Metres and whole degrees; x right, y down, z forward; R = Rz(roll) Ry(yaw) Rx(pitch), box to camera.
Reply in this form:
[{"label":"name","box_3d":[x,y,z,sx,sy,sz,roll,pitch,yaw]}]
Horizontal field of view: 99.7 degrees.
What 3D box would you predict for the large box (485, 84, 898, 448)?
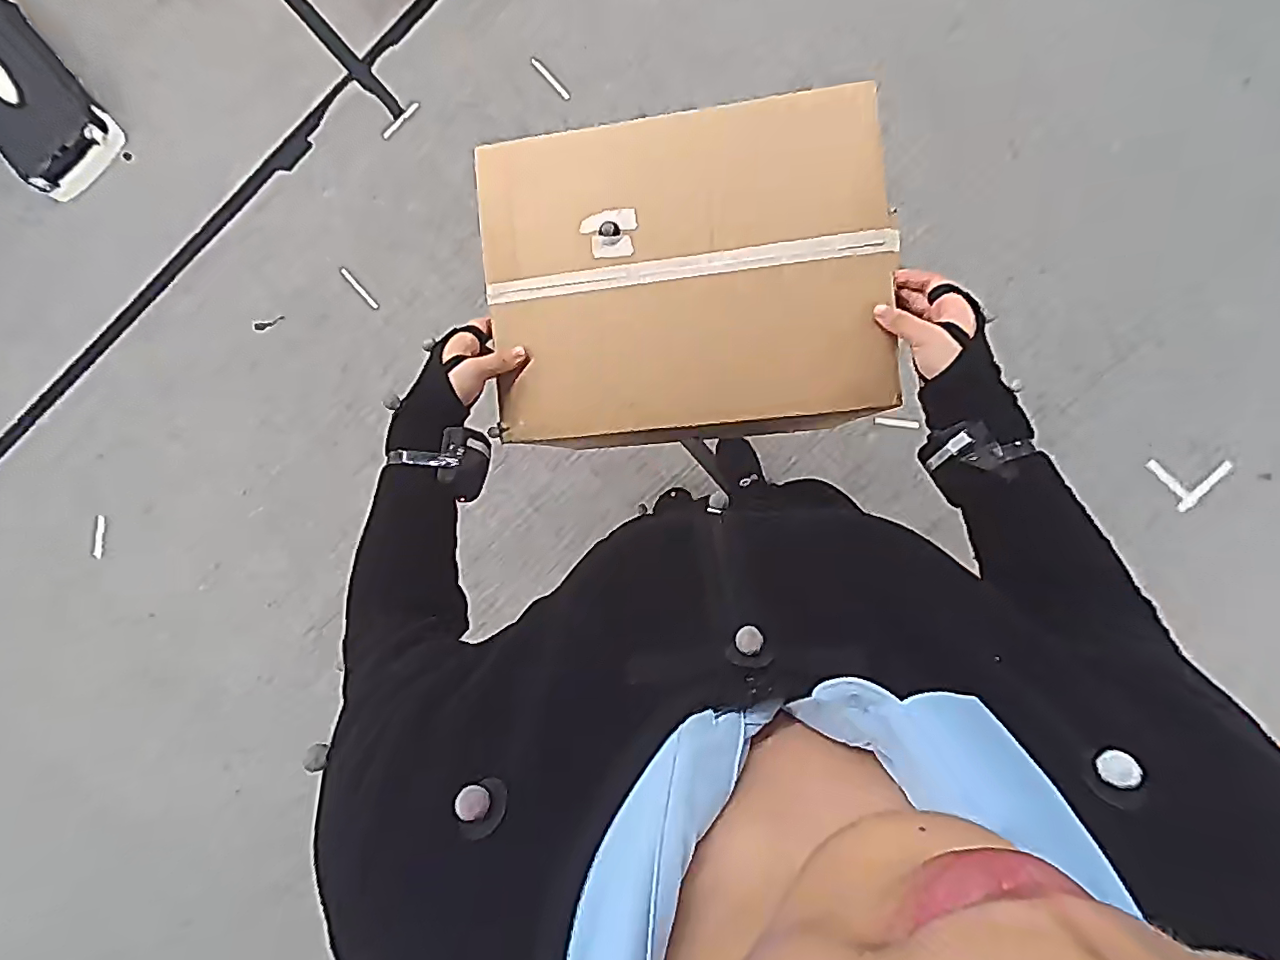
[{"label":"large box","box_3d":[0.065,-0.218,0.702,0.408,0.320,0.320,-5,89,9]}]
